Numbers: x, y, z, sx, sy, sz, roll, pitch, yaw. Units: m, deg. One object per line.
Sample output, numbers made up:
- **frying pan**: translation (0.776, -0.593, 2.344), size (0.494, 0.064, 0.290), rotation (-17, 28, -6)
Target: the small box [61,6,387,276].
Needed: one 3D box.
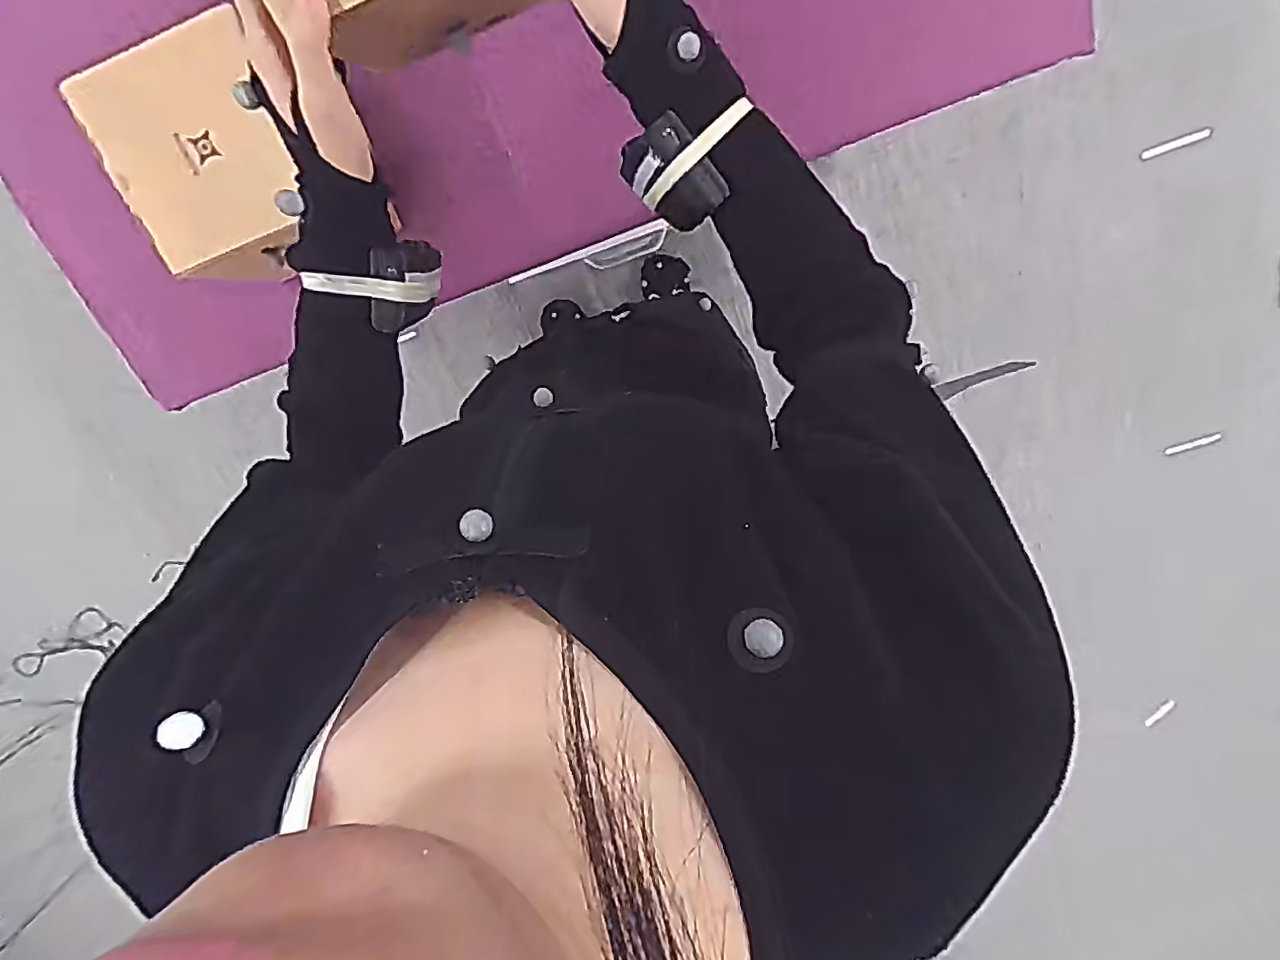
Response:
- **small box**: translation (-0.392, -0.323, 0.556), size (0.179, 0.176, 0.168), rotation (-19, 109, 7)

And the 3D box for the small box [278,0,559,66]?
- **small box**: translation (-0.147, -0.385, 0.318), size (0.168, 0.176, 0.179), rotation (-18, 120, 8)
